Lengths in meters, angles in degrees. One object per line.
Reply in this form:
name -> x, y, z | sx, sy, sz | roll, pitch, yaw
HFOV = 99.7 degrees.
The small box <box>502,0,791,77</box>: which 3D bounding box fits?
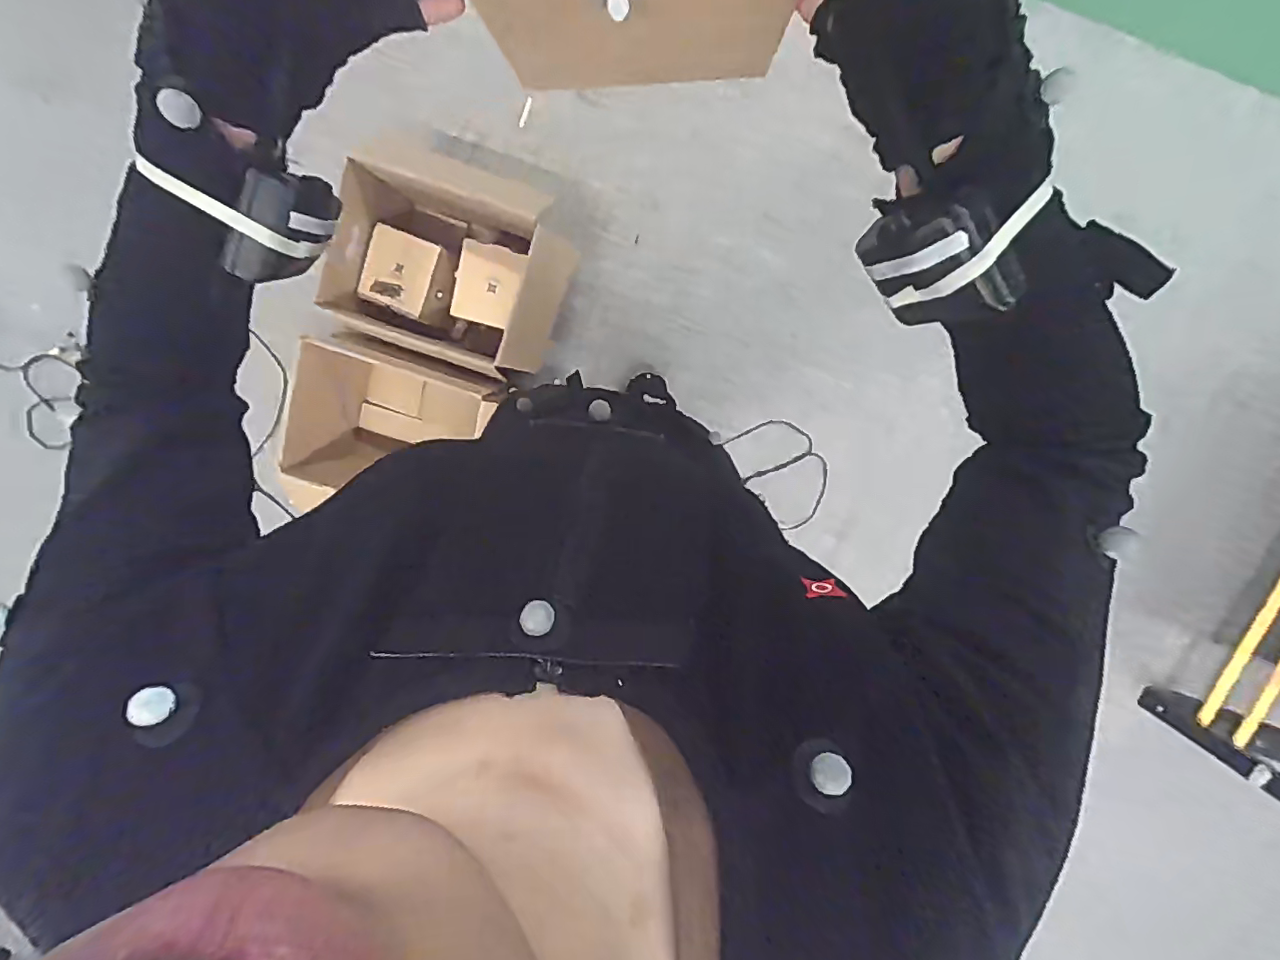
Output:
small box -> 0.002, -0.344, 0.289 | 0.179, 0.176, 0.168 | -2, 107, 2
